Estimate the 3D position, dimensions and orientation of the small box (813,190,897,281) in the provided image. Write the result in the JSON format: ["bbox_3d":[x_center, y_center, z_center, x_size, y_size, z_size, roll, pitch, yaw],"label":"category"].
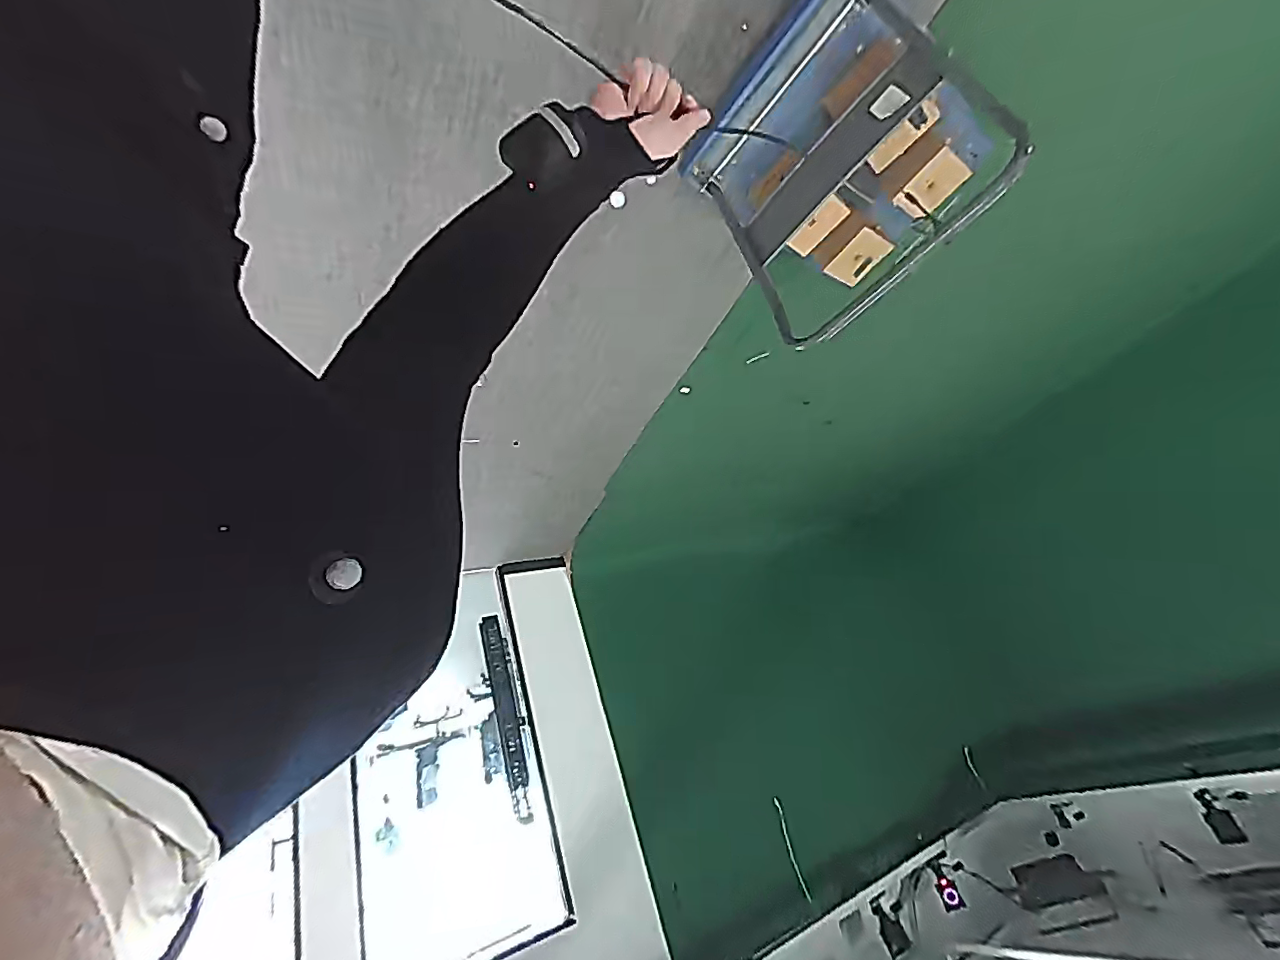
[{"bbox_3d":[0.652,-0.760,1.680,0.179,0.176,0.168,5,144,-38],"label":"small box"}]

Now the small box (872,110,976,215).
[{"bbox_3d":[0.789,-0.893,1.517,0.179,0.176,0.168,4,146,-38],"label":"small box"}]

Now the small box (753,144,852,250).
[{"bbox_3d":[0.449,-0.786,1.502,0.179,0.176,0.168,8,143,-42],"label":"small box"}]
